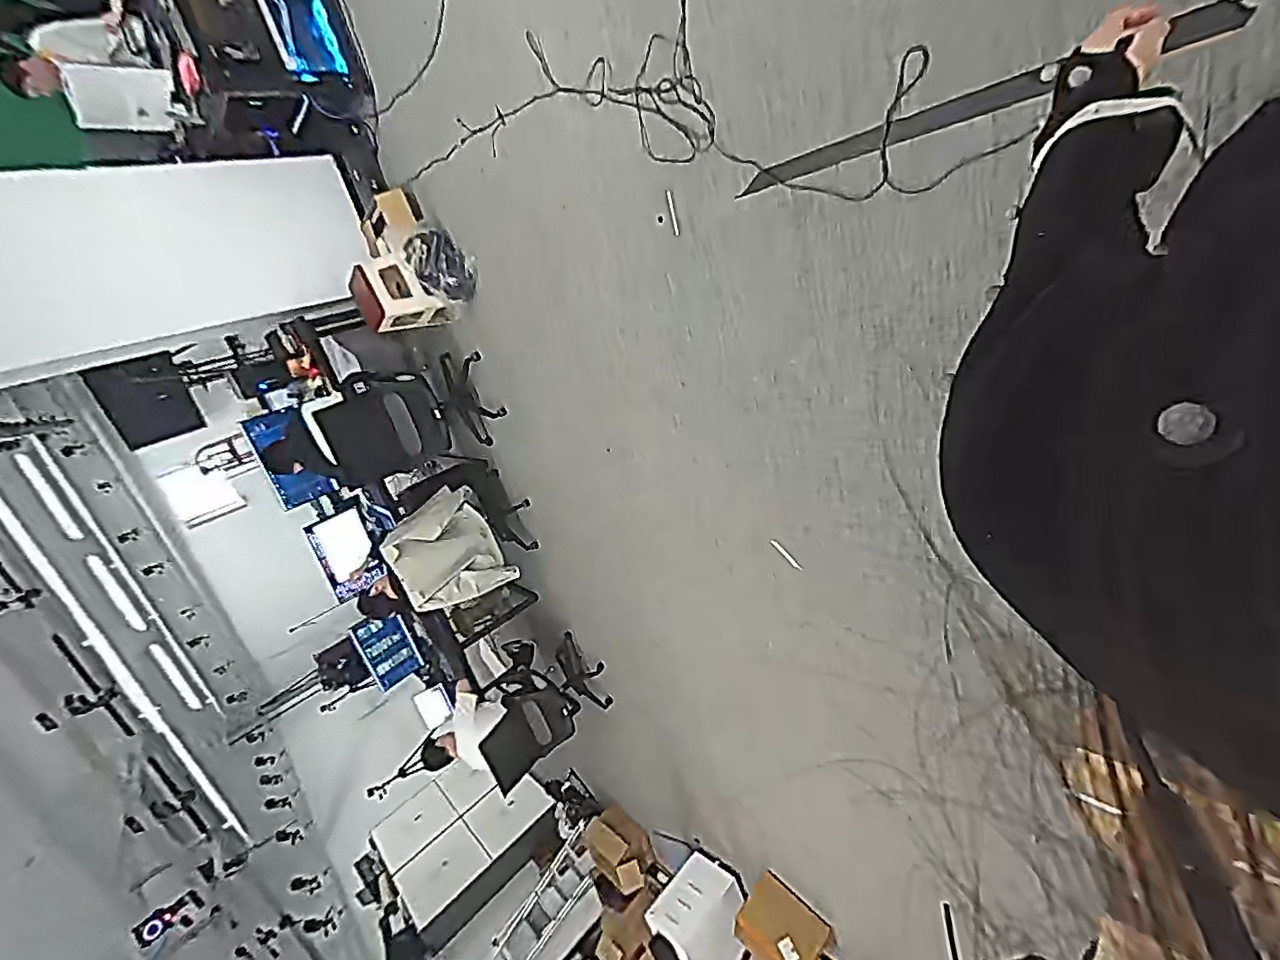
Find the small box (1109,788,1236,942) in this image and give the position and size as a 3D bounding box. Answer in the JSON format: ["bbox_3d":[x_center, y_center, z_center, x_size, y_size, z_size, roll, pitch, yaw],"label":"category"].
[{"bbox_3d":[1.137,0.808,1.157,0.179,0.176,0.168,9,120,49],"label":"small box"}]
